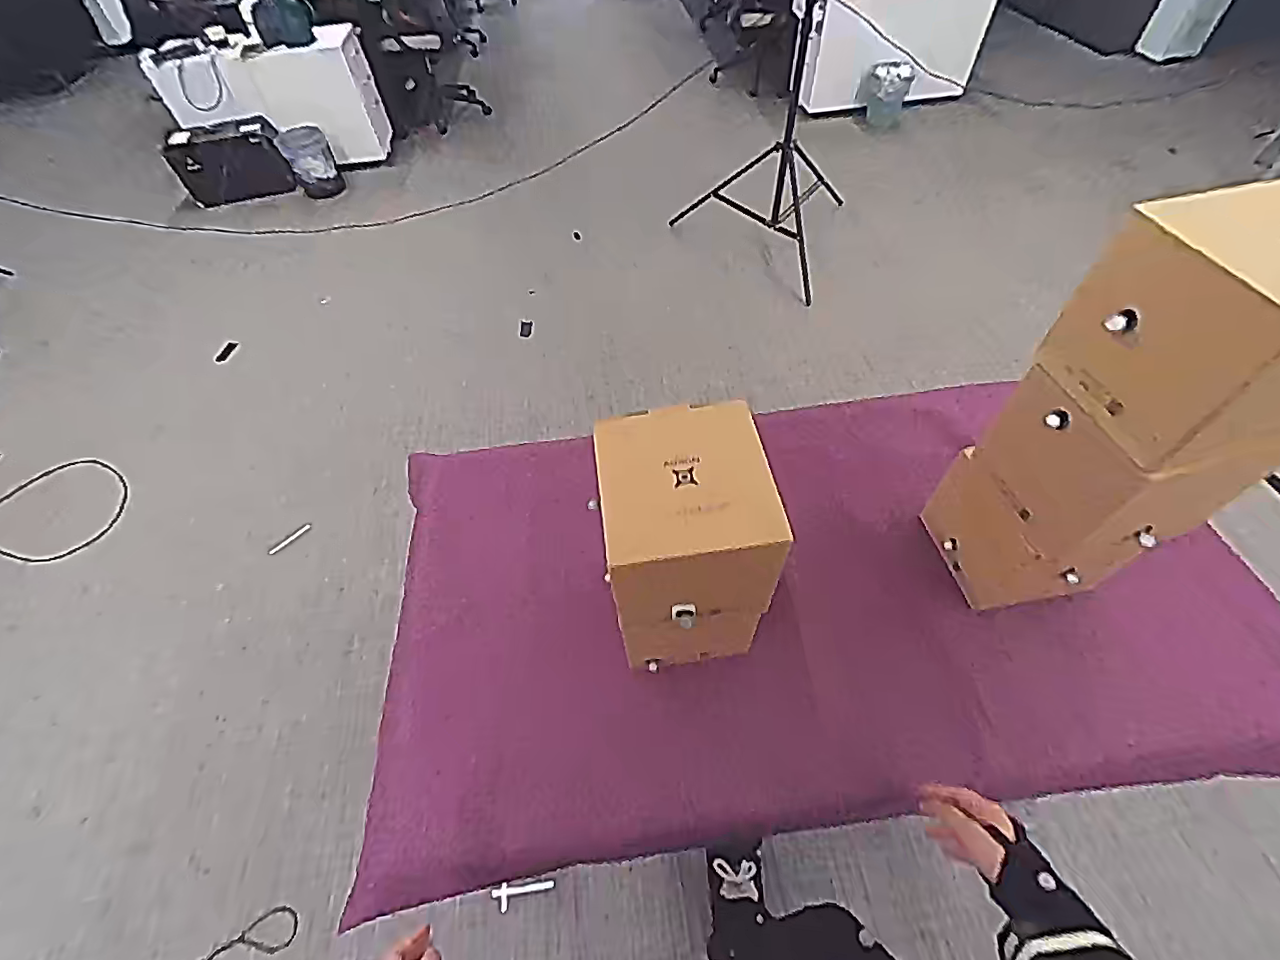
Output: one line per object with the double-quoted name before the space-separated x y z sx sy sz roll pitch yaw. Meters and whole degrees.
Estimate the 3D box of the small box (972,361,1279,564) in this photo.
"small box" 0.524 -0.027 0.605 0.179 0.176 0.168 -11 53 -5

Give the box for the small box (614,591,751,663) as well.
"small box" 0.050 0.131 0.720 0.168 0.176 0.179 -7 52 -3

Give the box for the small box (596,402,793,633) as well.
"small box" 0.047 0.043 0.583 0.168 0.176 0.179 -8 54 -2

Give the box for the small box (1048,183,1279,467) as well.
"small box" 0.514 -0.131 0.480 0.179 0.176 0.168 -11 53 -4
